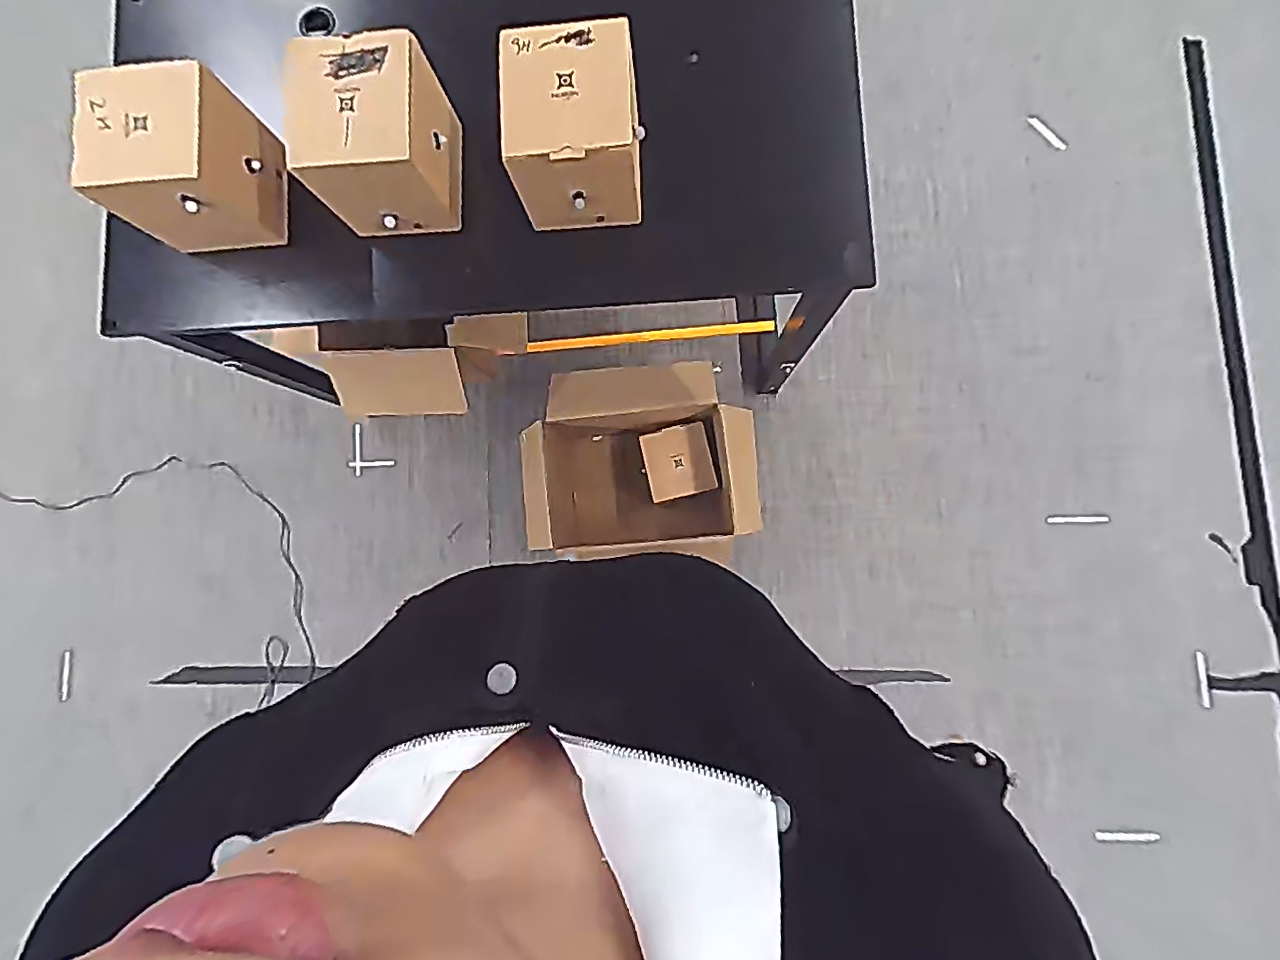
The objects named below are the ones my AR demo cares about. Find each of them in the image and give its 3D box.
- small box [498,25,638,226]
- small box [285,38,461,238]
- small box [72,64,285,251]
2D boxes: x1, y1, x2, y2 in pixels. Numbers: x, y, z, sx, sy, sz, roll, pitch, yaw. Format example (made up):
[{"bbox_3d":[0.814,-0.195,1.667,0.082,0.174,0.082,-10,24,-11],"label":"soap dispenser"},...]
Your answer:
[{"bbox_3d":[-0.092,-0.476,0.756,0.168,0.176,0.179,-2,85,3],"label":"small box"},{"bbox_3d":[-0.367,-0.475,0.771,0.168,0.176,0.179,-2,85,4],"label":"small box"},{"bbox_3d":[-0.651,-0.453,0.784,0.179,0.176,0.168,-3,84,3],"label":"small box"}]
